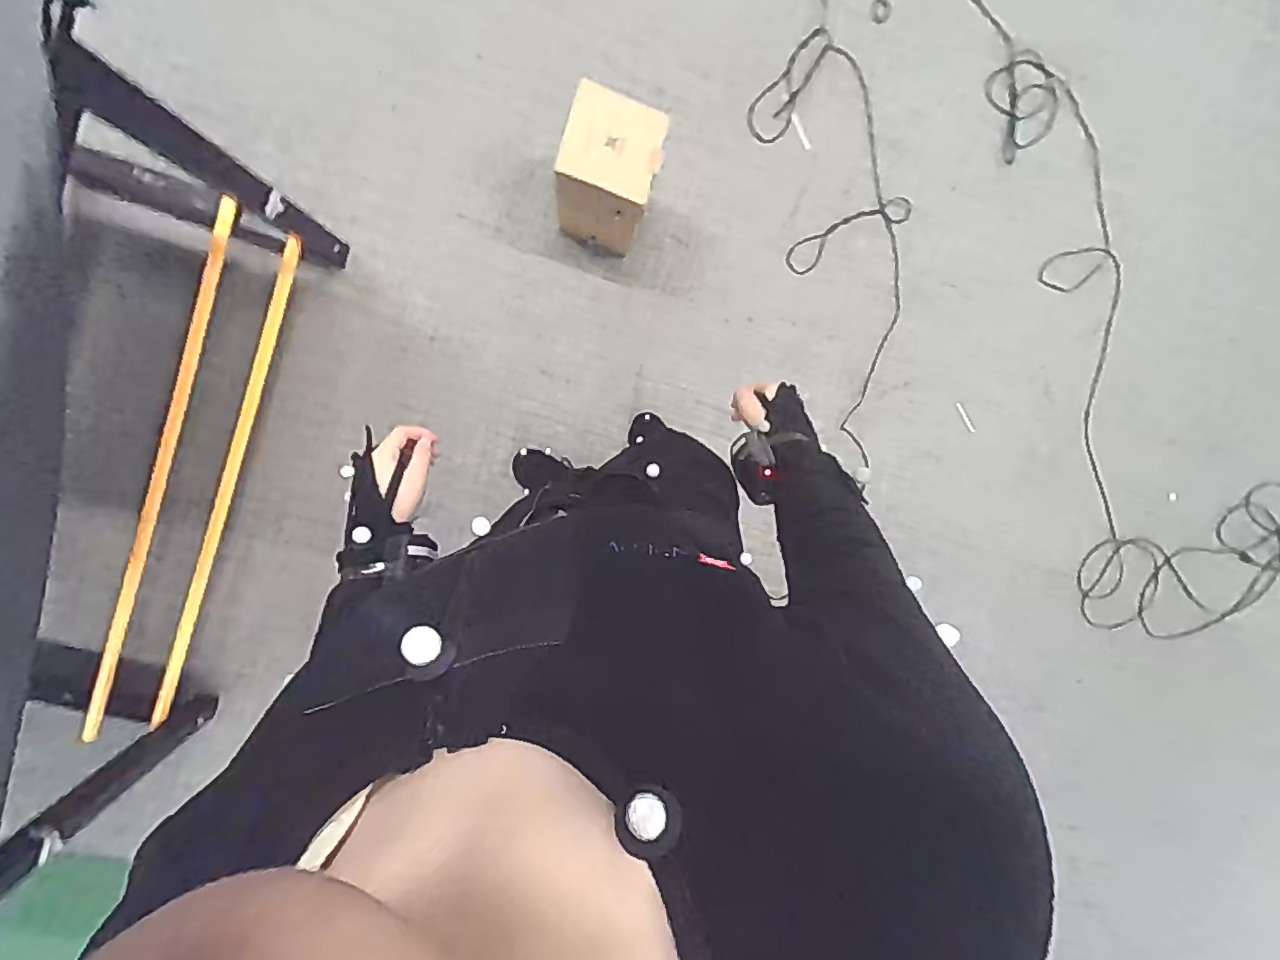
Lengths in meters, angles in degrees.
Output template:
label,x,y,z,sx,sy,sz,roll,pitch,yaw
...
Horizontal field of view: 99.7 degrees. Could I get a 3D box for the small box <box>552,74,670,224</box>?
label,x,y,z,sx,sy,sz,roll,pitch,yaw
small box,-0.060,-0.620,1.043,0.179,0.176,0.168,17,94,-8

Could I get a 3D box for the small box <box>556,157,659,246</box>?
label,x,y,z,sx,sy,sz,roll,pitch,yaw
small box,-0.079,-0.645,1.202,0.179,0.176,0.168,20,93,-11
